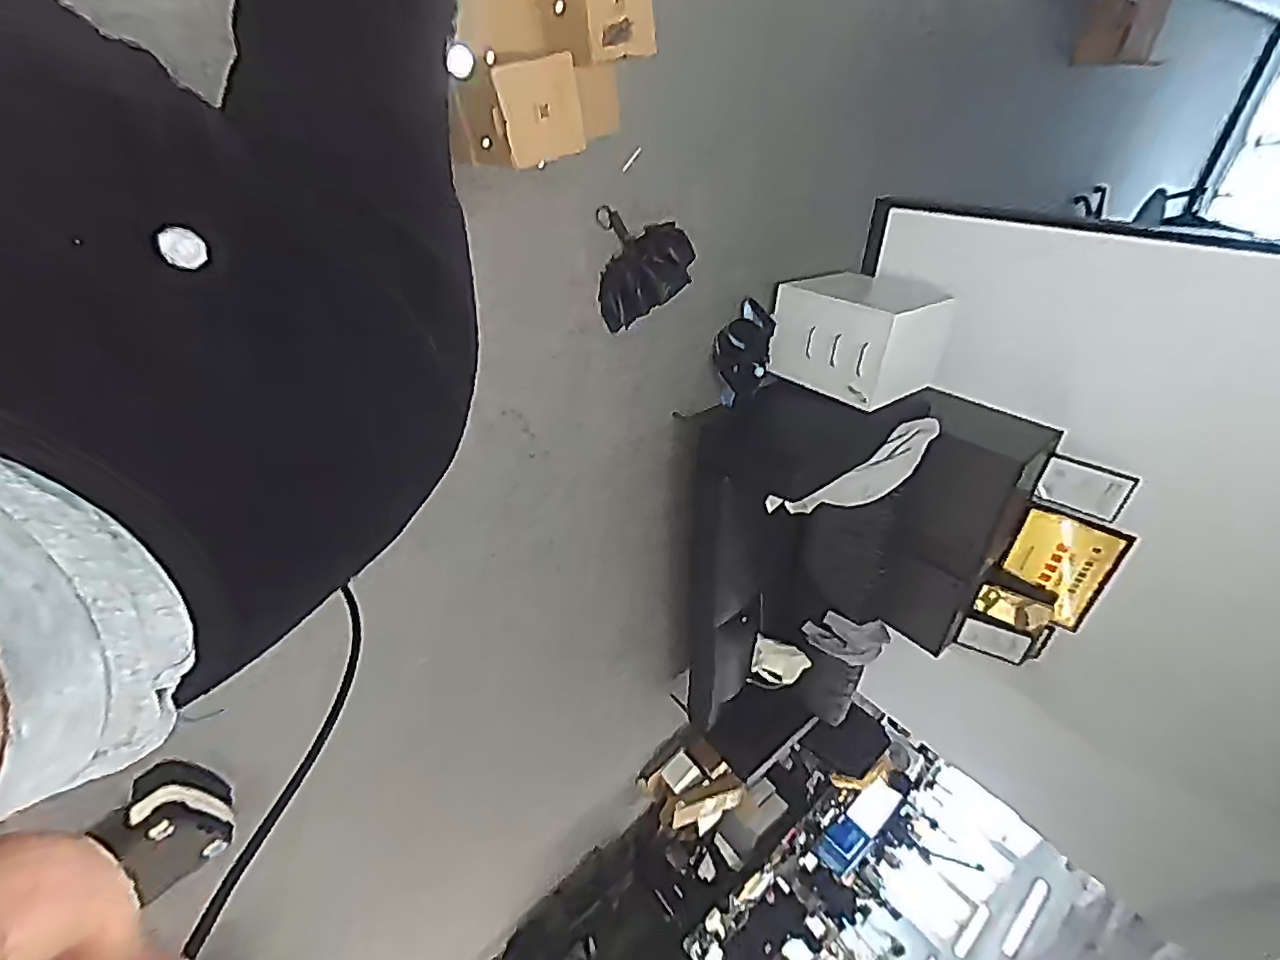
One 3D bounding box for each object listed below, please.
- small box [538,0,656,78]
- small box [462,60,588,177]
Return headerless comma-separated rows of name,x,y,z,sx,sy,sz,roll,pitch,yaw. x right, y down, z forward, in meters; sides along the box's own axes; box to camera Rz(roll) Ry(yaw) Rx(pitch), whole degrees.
small box,-0.090,-0.933,1.096,0.168,0.176,0.179,-30,130,-27
small box,-0.236,-0.729,1.091,0.179,0.176,0.168,-34,138,-24
